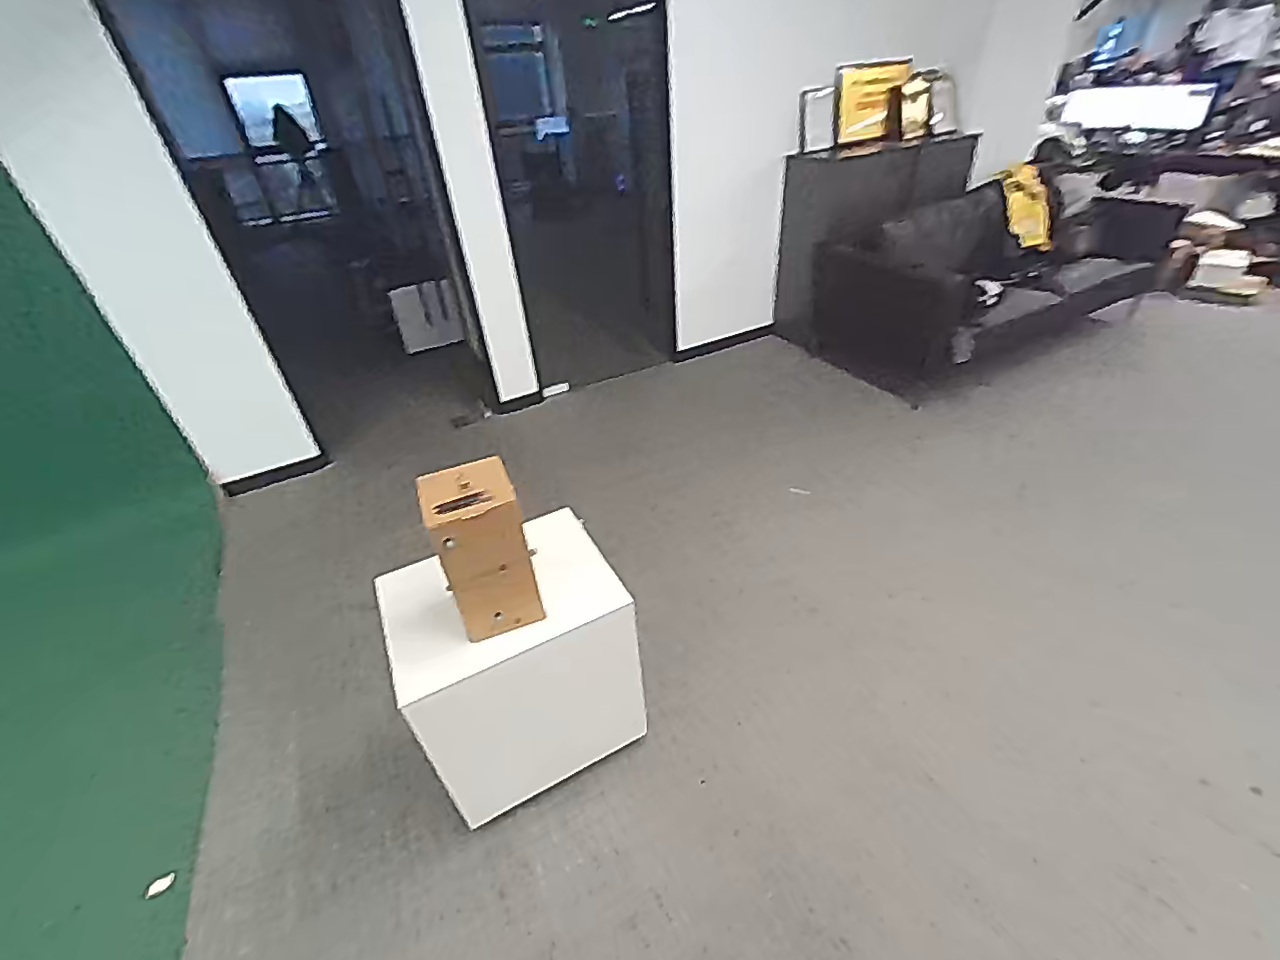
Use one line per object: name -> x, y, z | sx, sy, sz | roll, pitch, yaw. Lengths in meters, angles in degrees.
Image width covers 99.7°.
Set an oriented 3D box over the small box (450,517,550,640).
small box -> -0.305, 0.212, 1.178 | 0.168, 0.176, 0.179 | -16, 37, -15
